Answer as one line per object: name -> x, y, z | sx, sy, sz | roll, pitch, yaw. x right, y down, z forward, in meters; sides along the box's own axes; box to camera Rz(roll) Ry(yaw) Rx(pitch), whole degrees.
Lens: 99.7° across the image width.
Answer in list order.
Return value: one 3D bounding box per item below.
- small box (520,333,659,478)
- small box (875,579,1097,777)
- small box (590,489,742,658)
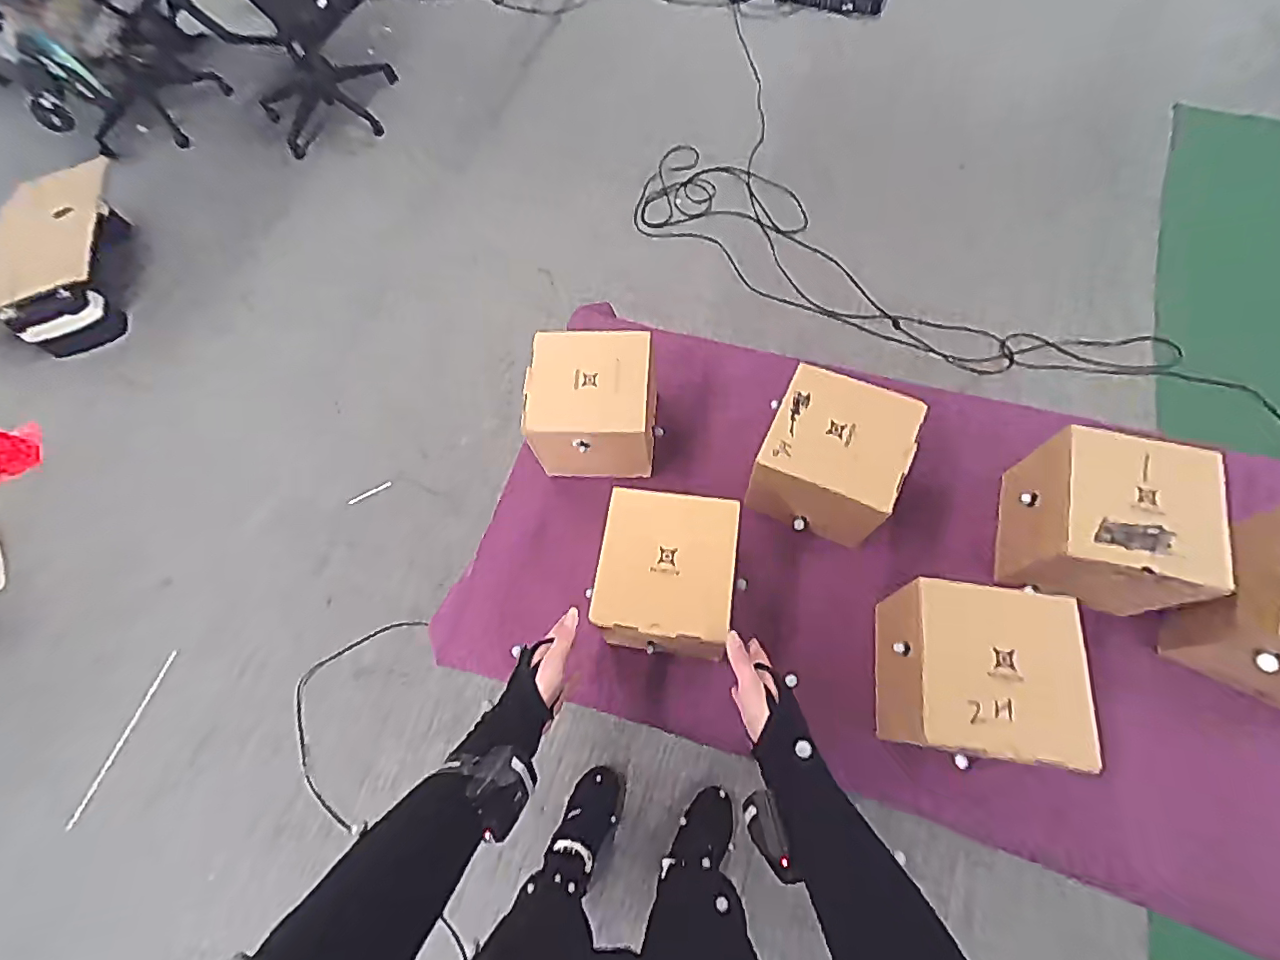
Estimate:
small box -> -0.067, -0.108, 0.838 | 0.179, 0.176, 0.168 | 2, 69, 6
small box -> 0.390, 0.234, 0.646 | 0.168, 0.176, 0.179 | 7, 67, 9
small box -> 0.039, 0.131, 0.727 | 0.168, 0.176, 0.179 | 6, 68, 8
